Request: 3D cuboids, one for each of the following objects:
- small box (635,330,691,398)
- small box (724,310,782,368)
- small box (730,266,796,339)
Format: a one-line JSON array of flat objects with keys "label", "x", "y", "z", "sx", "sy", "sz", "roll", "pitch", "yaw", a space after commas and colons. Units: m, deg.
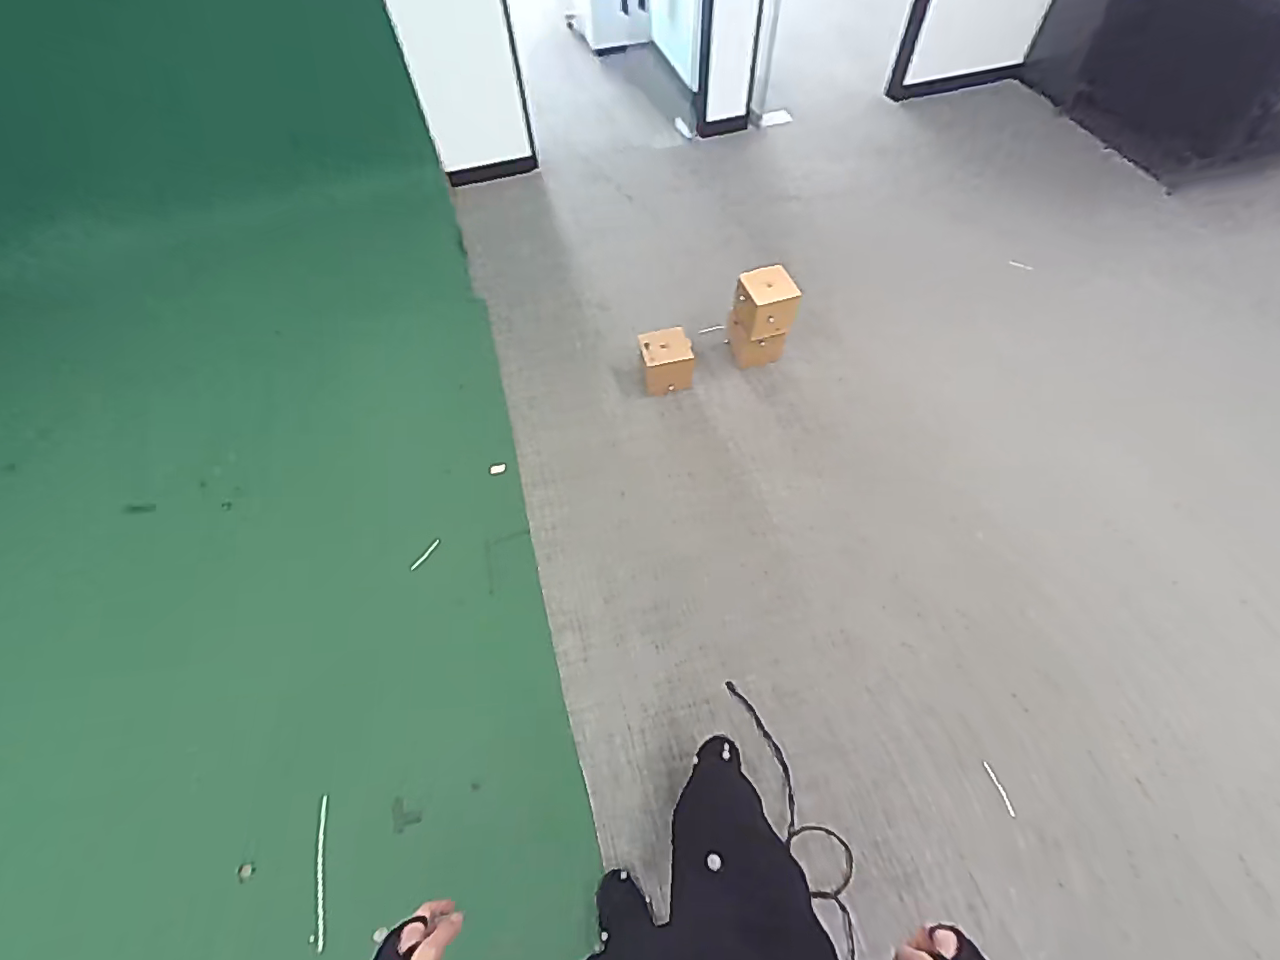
[{"label": "small box", "x": 0.083, "y": -0.431, "z": 2.025, "sx": 0.179, "sy": 0.176, "sz": 0.168, "roll": -12, "pitch": 58, "yaw": -6}, {"label": "small box", "x": 0.431, "y": -0.553, "z": 2.086, "sx": 0.179, "sy": 0.176, "sz": 0.168, "roll": -13, "pitch": 59, "yaw": -7}, {"label": "small box", "x": 0.435, "y": -0.628, "z": 1.941, "sx": 0.168, "sy": 0.176, "sz": 0.179, "roll": -17, "pitch": 59, "yaw": -8}]
